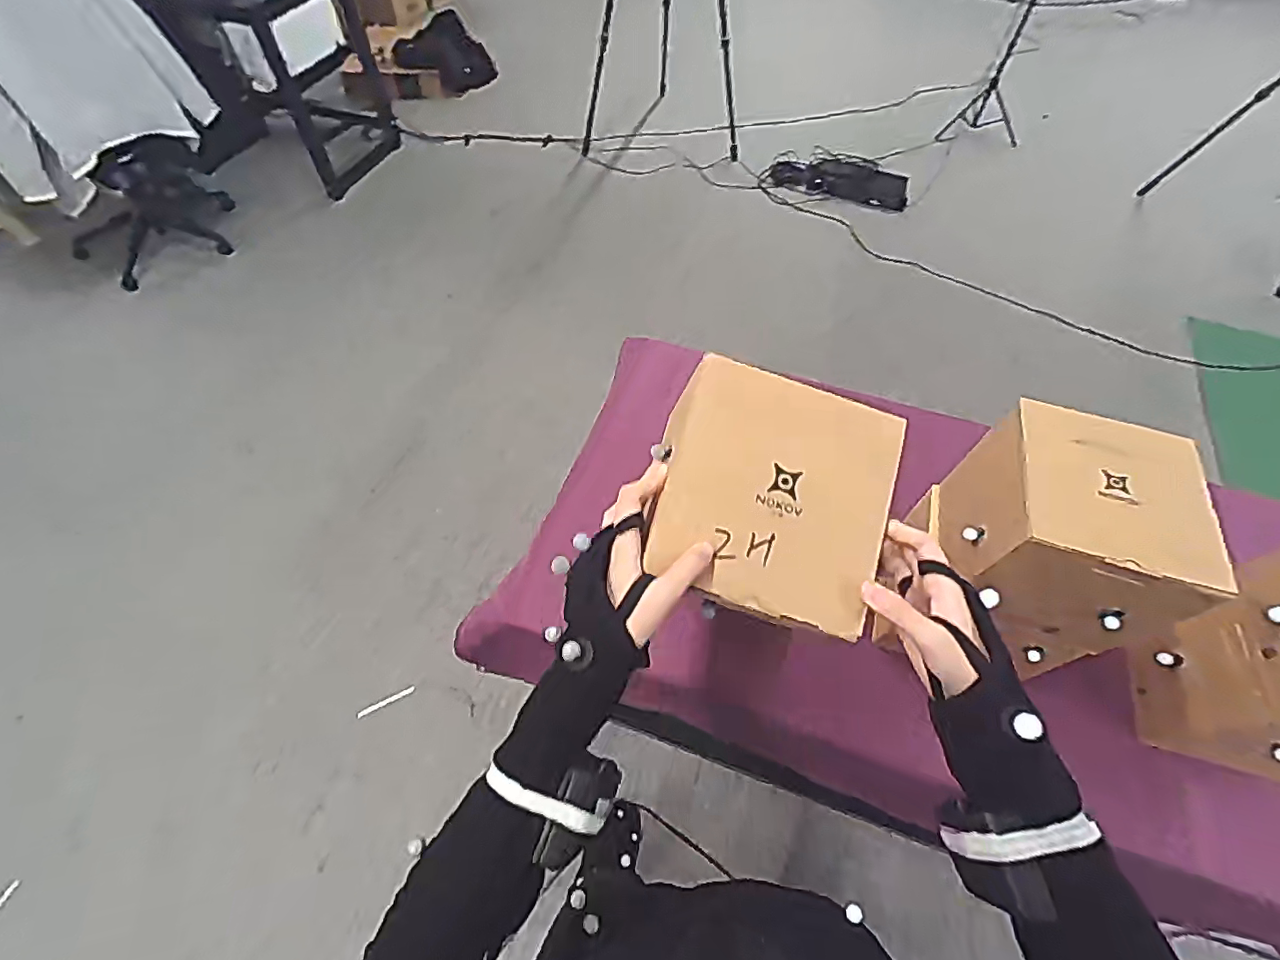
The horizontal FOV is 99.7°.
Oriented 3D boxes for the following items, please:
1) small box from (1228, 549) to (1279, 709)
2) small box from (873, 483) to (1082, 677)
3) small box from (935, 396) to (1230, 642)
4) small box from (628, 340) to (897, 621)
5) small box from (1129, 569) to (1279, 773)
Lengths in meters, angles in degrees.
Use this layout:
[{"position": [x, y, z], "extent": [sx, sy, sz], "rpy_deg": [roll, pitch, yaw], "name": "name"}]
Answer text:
[{"position": [0.729, 0.140, 0.498], "extent": [0.179, 0.176, 0.168], "rpy_deg": [15, 56, 10], "name": "small box"}, {"position": [0.424, 0.135, 0.702], "extent": [0.179, 0.176, 0.168], "rpy_deg": [17, 57, 10], "name": "small box"}, {"position": [0.432, 0.046, 0.566], "extent": [0.168, 0.176, 0.179], "rpy_deg": [17, 57, 9], "name": "small box"}, {"position": [0.092, 0.012, 0.480], "extent": [0.168, 0.176, 0.179], "rpy_deg": [19, 78, -1], "name": "small box"}, {"position": [0.730, 0.230, 0.636], "extent": [0.179, 0.176, 0.168], "rpy_deg": [14, 57, 10], "name": "small box"}]
